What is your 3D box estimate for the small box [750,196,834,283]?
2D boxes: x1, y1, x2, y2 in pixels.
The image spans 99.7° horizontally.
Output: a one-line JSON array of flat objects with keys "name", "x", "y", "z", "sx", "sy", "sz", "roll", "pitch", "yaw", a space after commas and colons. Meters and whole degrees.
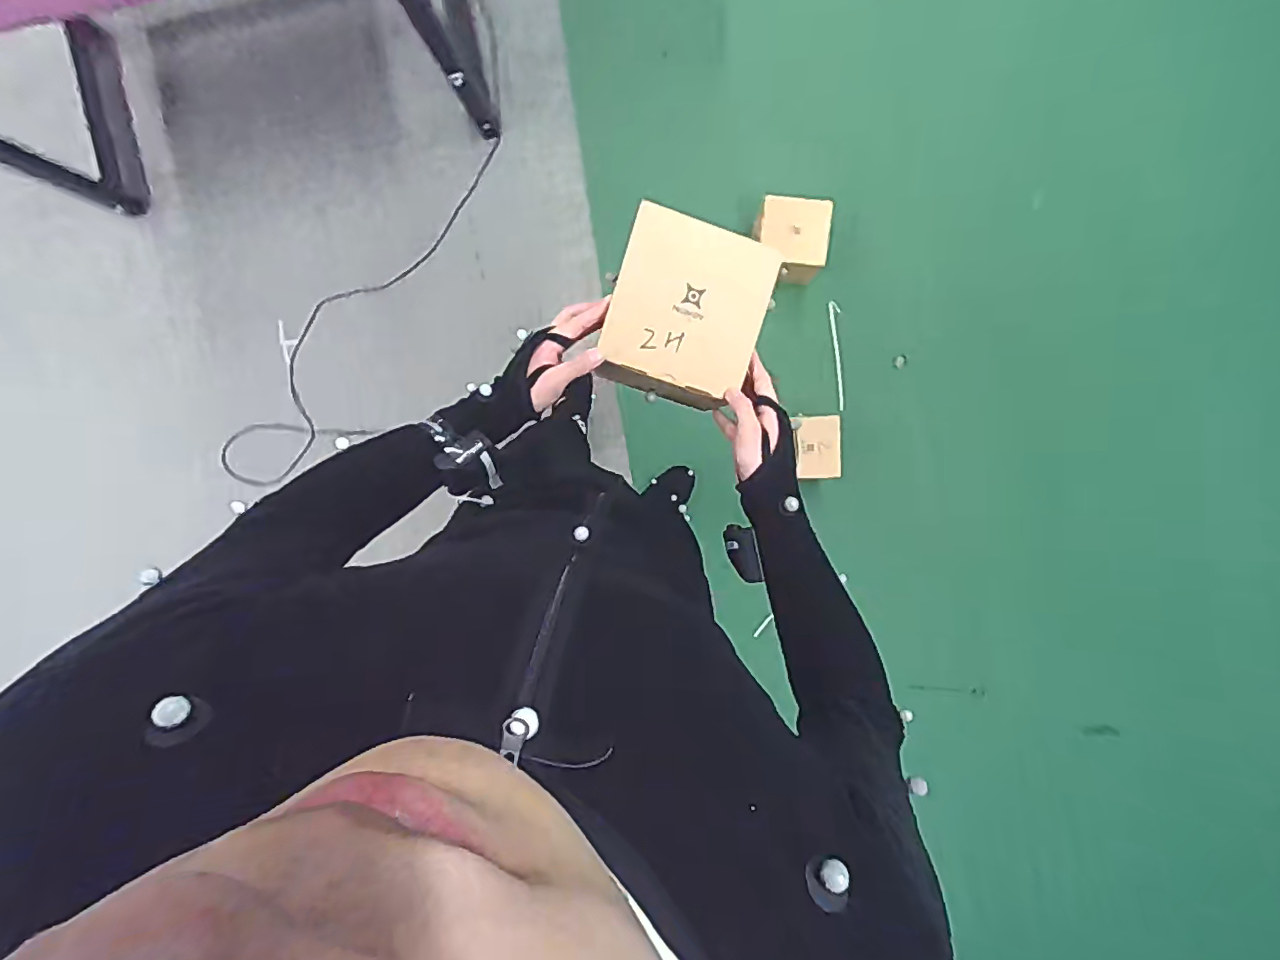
[{"name": "small box", "x": 0.409, "y": -0.649, "z": 1.478, "sx": 0.179, "sy": 0.176, "sz": 0.168, "roll": 7, "pitch": 95, "yaw": 3}]
